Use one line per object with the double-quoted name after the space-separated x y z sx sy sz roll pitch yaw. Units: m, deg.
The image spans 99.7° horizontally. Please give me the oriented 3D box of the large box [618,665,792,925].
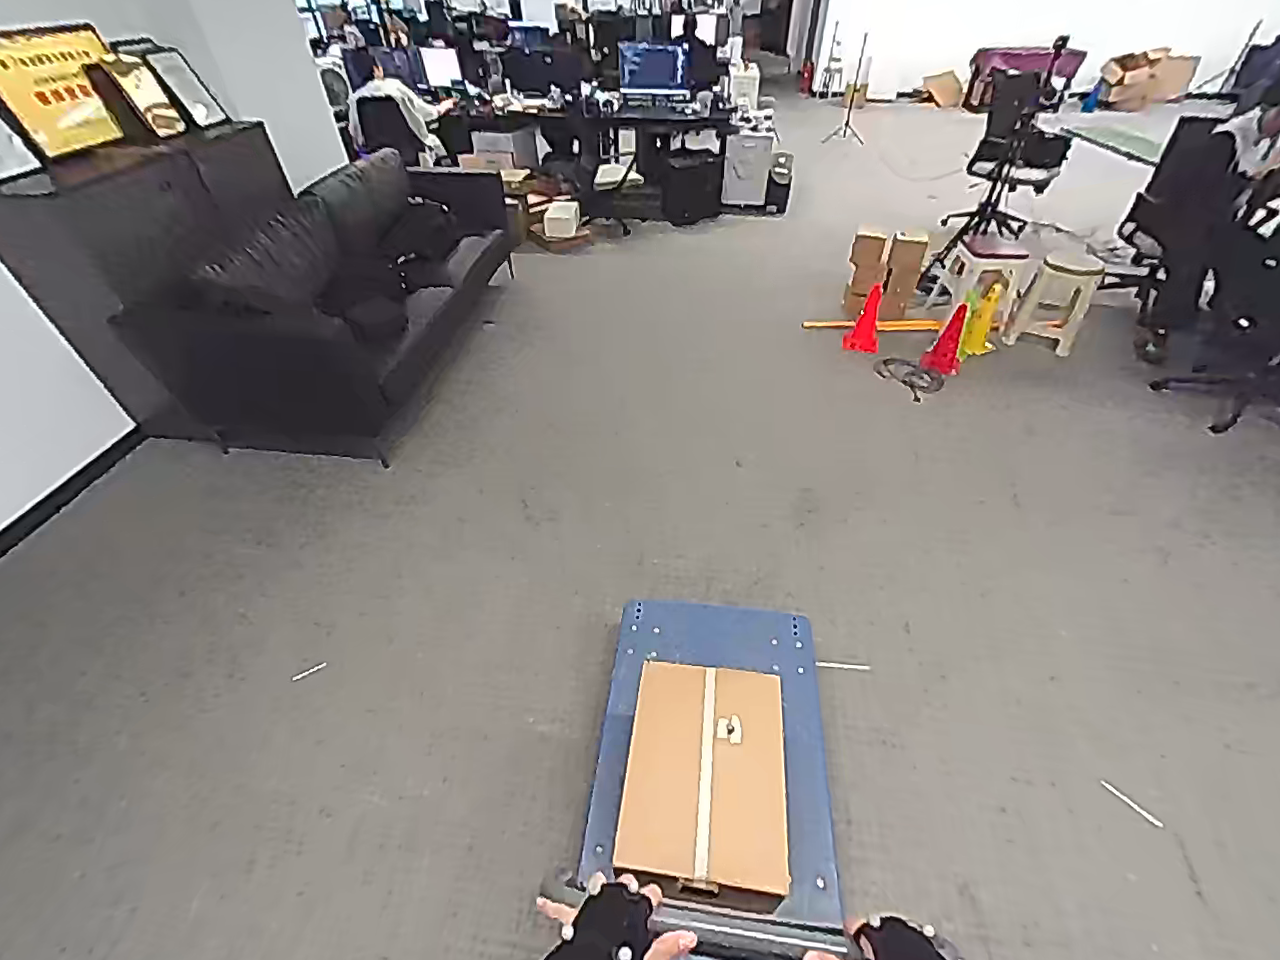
0.138 0.681 1.189 0.320 0.320 0.408 5 42 6 "large box"
